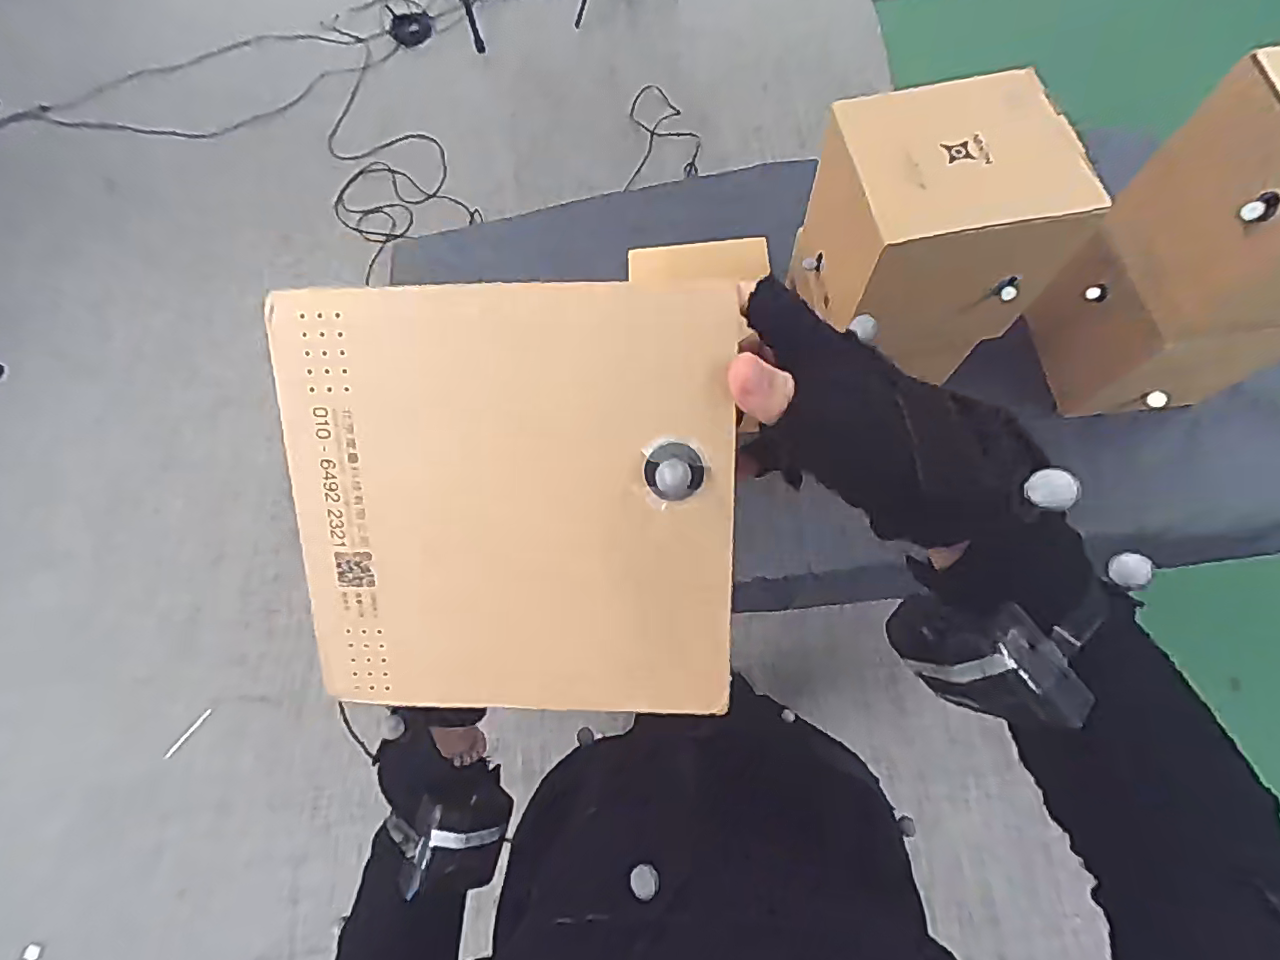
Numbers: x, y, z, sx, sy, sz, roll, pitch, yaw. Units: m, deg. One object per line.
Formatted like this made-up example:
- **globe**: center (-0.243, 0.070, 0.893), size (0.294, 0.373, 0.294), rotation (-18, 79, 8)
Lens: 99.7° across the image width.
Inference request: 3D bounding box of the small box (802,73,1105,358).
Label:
- **small box**: center (0.273, -0.240, 0.522), size (0.179, 0.176, 0.168), rotation (-8, 69, 3)

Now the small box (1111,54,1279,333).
- **small box**: center (0.593, -0.249, 0.491), size (0.168, 0.176, 0.179), rotation (-4, 70, 5)

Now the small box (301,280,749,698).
- **small box**: center (-0.040, -0.007, 0.291), size (0.176, 0.179, 0.168), rotation (-1, 102, 4)
